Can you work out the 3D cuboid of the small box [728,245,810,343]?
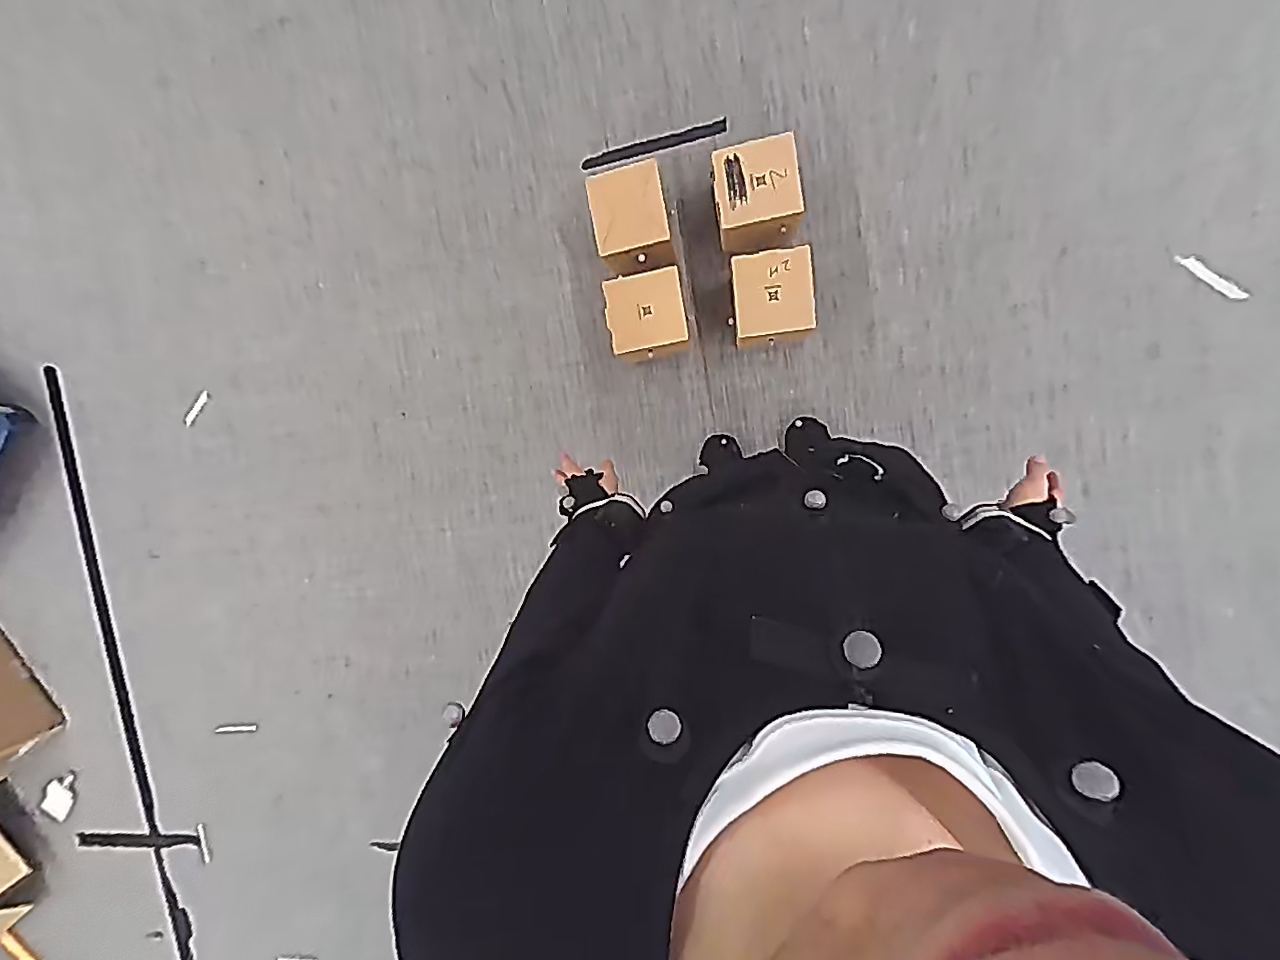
[{"bbox_3d":[0.291,-0.415,1.240,0.168,0.176,0.179,-5,96,10],"label":"small box"}]

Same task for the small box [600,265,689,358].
[{"bbox_3d":[0.019,-0.393,1.291,0.179,0.176,0.168,-9,95,11],"label":"small box"}]
